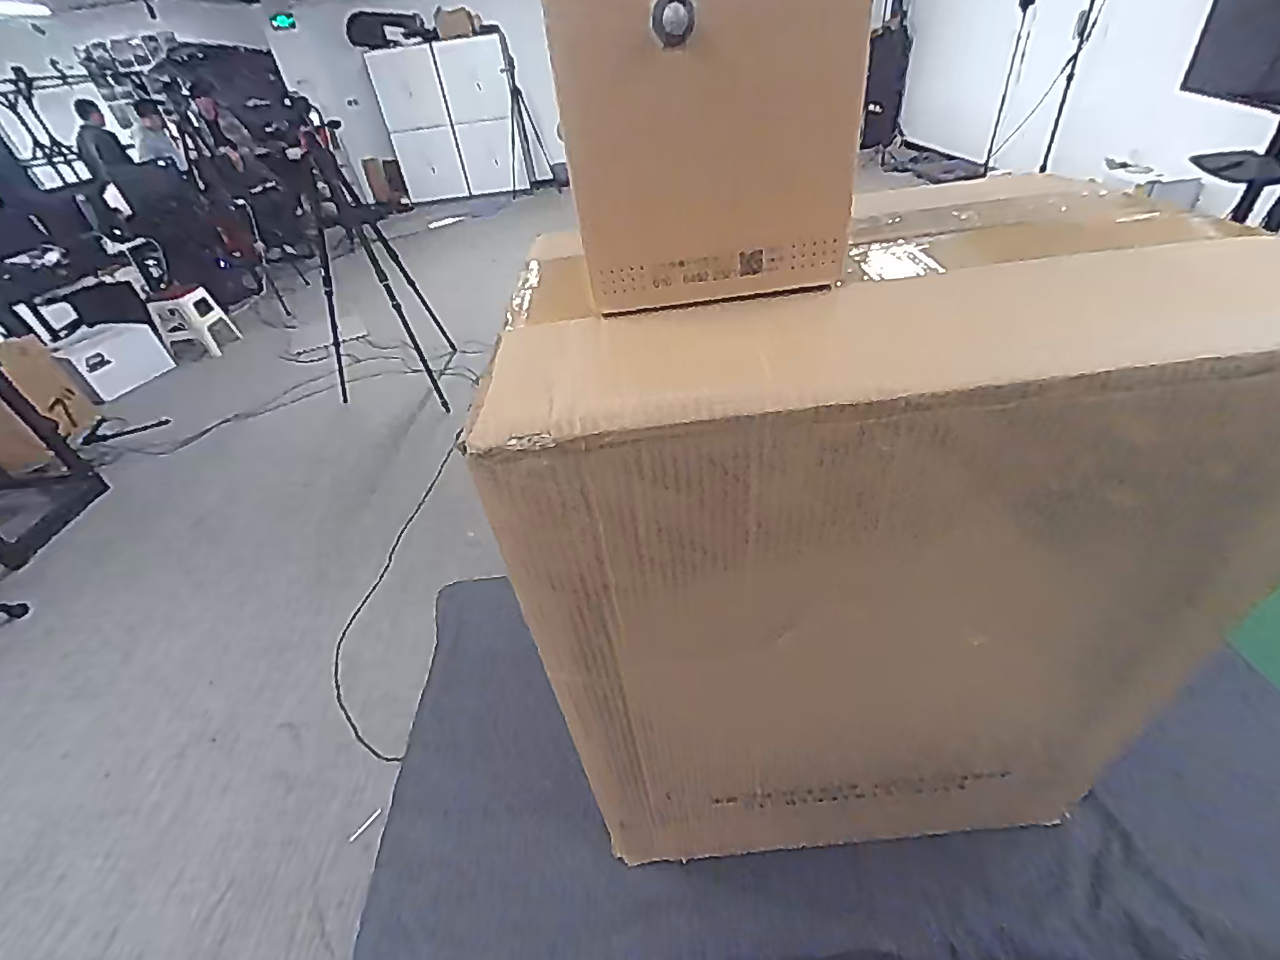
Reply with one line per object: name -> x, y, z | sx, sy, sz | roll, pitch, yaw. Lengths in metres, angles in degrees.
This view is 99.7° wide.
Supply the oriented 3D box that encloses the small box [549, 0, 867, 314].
small box -> 0.041, -0.231, 0.385 | 0.168, 0.176, 0.179 | -7, 36, 3
